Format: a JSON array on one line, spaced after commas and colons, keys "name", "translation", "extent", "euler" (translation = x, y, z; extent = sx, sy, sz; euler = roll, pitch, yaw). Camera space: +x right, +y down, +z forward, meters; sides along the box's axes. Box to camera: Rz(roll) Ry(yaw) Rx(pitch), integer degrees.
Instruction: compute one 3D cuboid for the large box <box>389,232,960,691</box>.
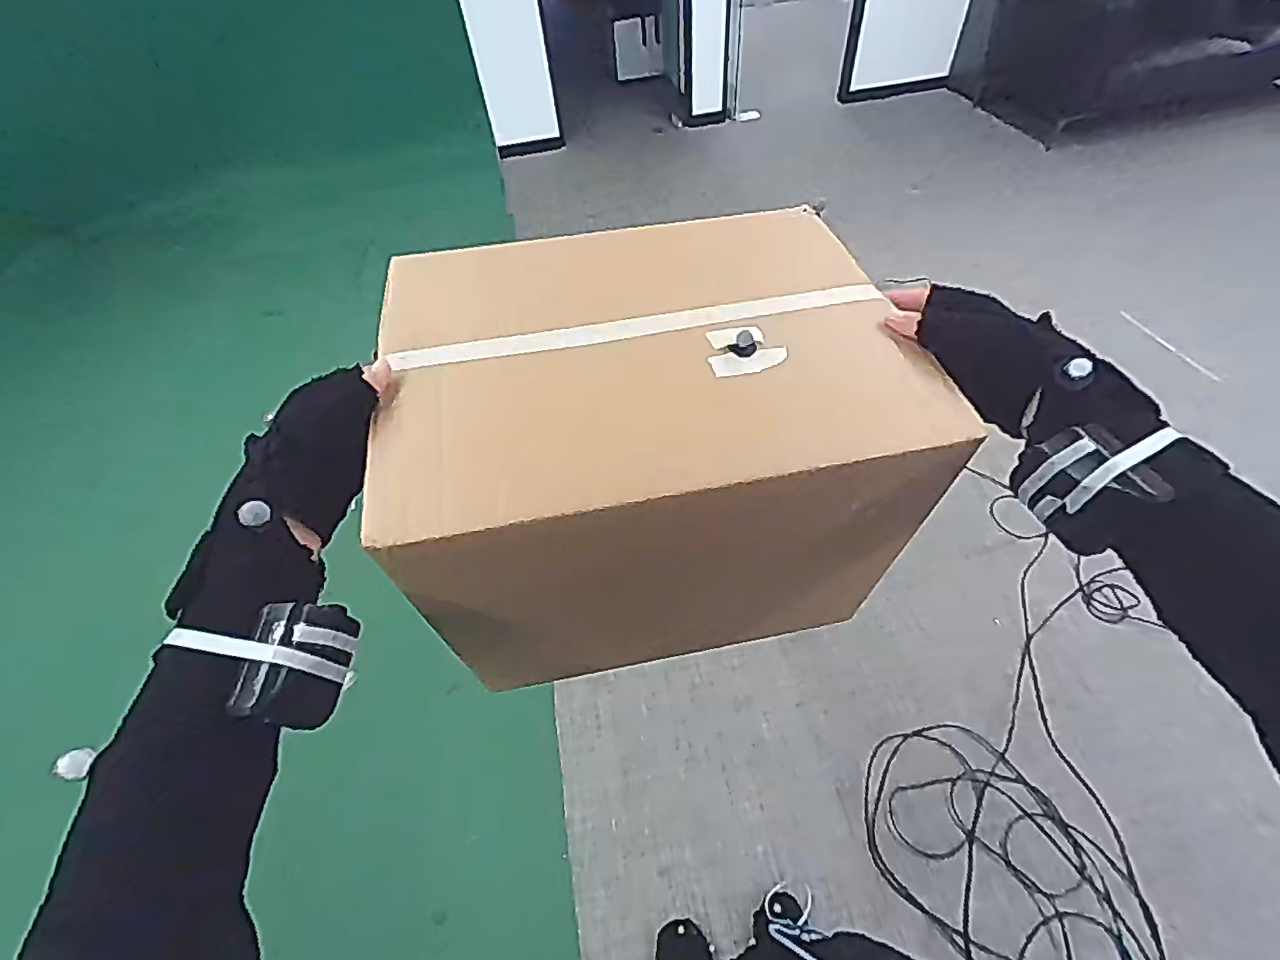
[{"name": "large box", "translation": [0.005, -0.017, 0.564], "extent": [0.408, 0.320, 0.320], "euler": [-9, 53, -7]}]
